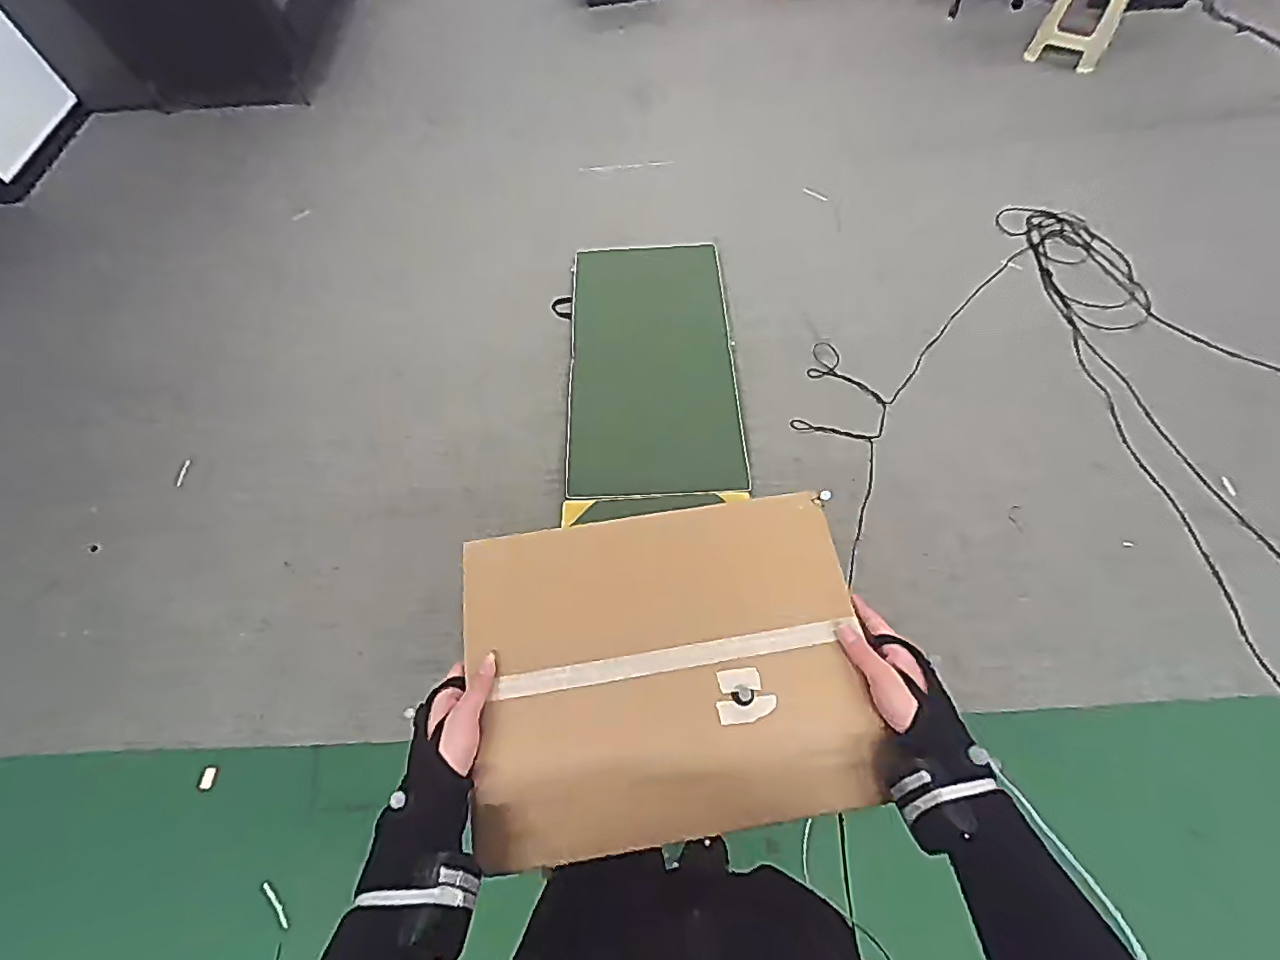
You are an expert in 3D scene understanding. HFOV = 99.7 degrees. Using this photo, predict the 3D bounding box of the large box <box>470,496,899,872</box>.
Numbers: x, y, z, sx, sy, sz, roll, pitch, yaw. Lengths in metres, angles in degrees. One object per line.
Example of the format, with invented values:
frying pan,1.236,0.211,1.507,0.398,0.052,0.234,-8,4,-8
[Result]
large box,0.027,0.248,0.695,0.408,0.320,0.320,-8,67,-4
